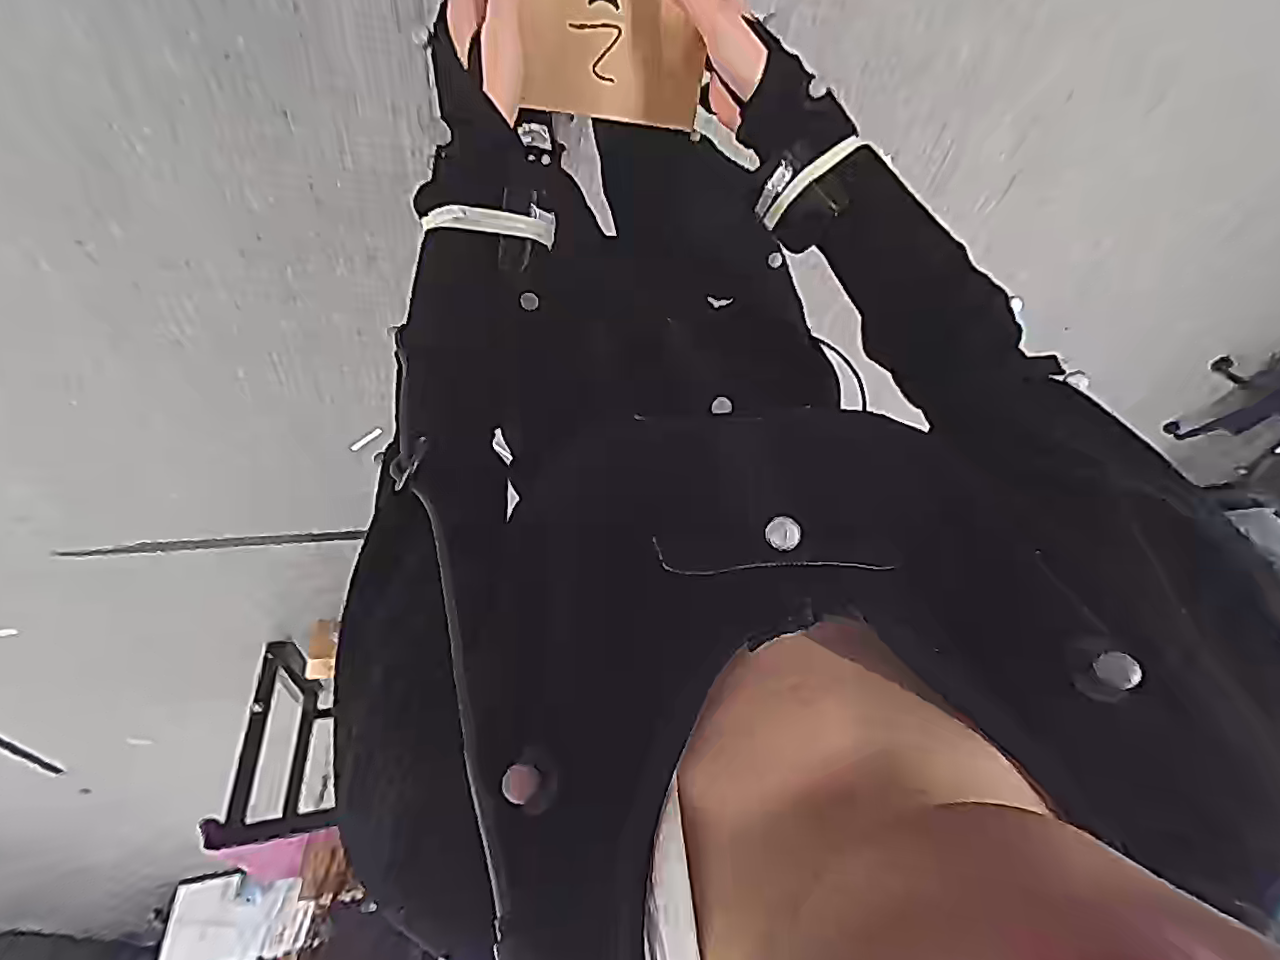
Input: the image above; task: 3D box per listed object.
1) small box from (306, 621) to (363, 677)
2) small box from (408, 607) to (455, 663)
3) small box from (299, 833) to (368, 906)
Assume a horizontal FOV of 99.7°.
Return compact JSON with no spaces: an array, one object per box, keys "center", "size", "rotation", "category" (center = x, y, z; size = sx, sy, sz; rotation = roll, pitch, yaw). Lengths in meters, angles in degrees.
[{"center":[-1.254,0.693,2.221],"size":[0.179,0.176,0.168],"rotation":[9,133,-29],"category":"small box"},{"center":[-0.885,0.658,2.305],"size":[0.179,0.176,0.168],"rotation":[0,136,-19],"category":"small box"},{"center":[-1.093,1.395,1.938],"size":[0.179,0.176,0.168],"rotation":[-2,138,-17],"category":"small box"}]
